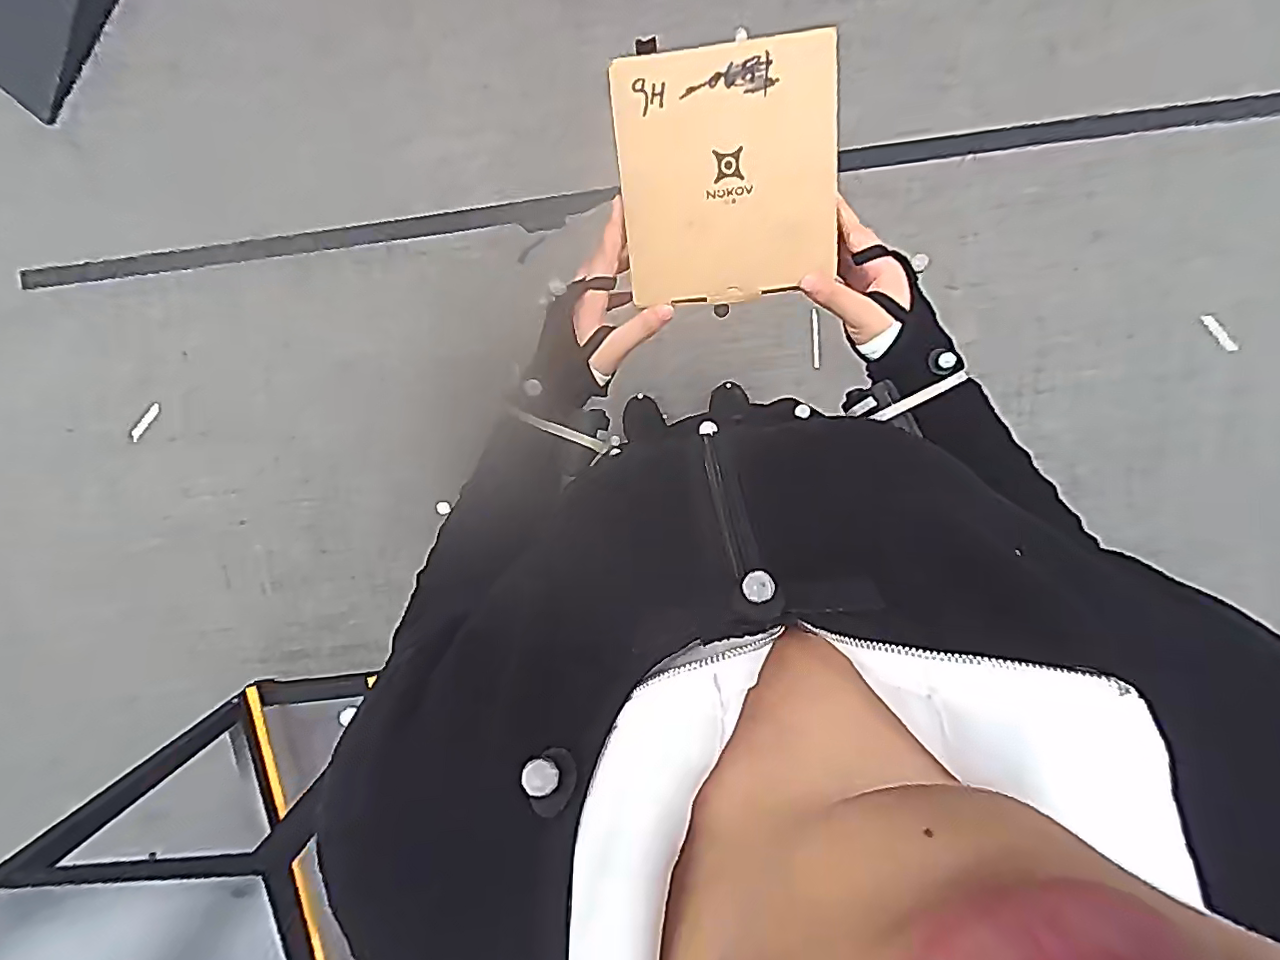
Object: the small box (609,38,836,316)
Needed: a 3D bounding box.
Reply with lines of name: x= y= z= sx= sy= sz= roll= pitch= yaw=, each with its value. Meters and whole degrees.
small box: x=0.070 y=-0.253 z=0.491 sx=0.168 sy=0.176 sz=0.179 roll=-6 pitch=109 yaw=4
